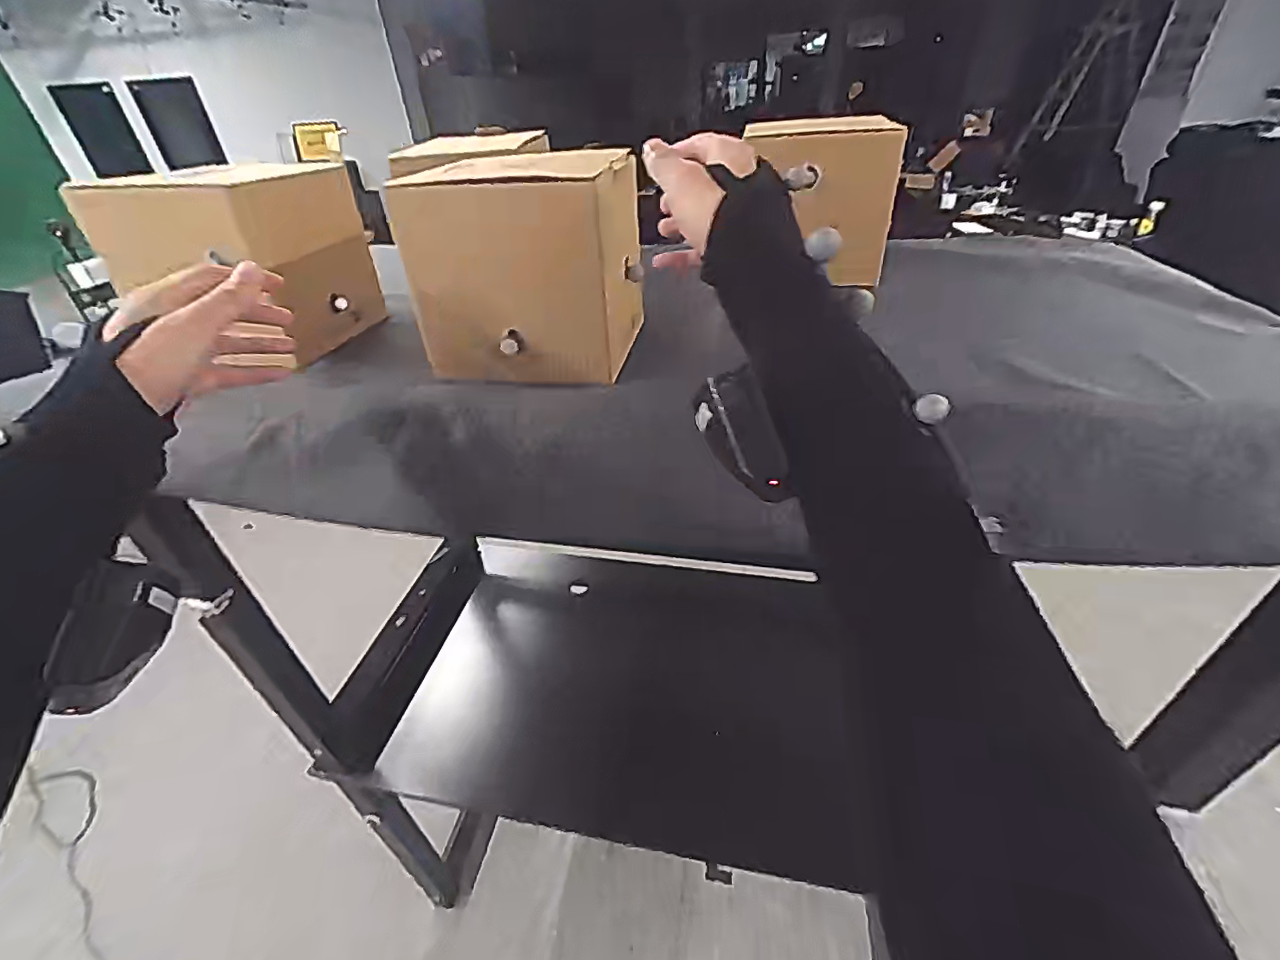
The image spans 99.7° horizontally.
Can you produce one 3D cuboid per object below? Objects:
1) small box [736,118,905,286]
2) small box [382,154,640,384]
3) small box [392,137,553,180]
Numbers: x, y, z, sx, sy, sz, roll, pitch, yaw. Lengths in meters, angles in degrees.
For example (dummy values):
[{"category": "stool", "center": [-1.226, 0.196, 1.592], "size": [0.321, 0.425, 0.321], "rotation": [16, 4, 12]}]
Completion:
[{"category": "small box", "center": [0.218, -0.356, 0.695], "size": [0.179, 0.176, 0.168], "rotation": [4, 38, 11]}, {"category": "small box", "center": [-0.099, -0.202, 0.516], "size": [0.179, 0.176, 0.168], "rotation": [4, 36, 10]}, {"category": "small box", "center": [-0.210, -0.373, 0.759], "size": [0.168, 0.176, 0.179], "rotation": [-1, 36, 6]}]
